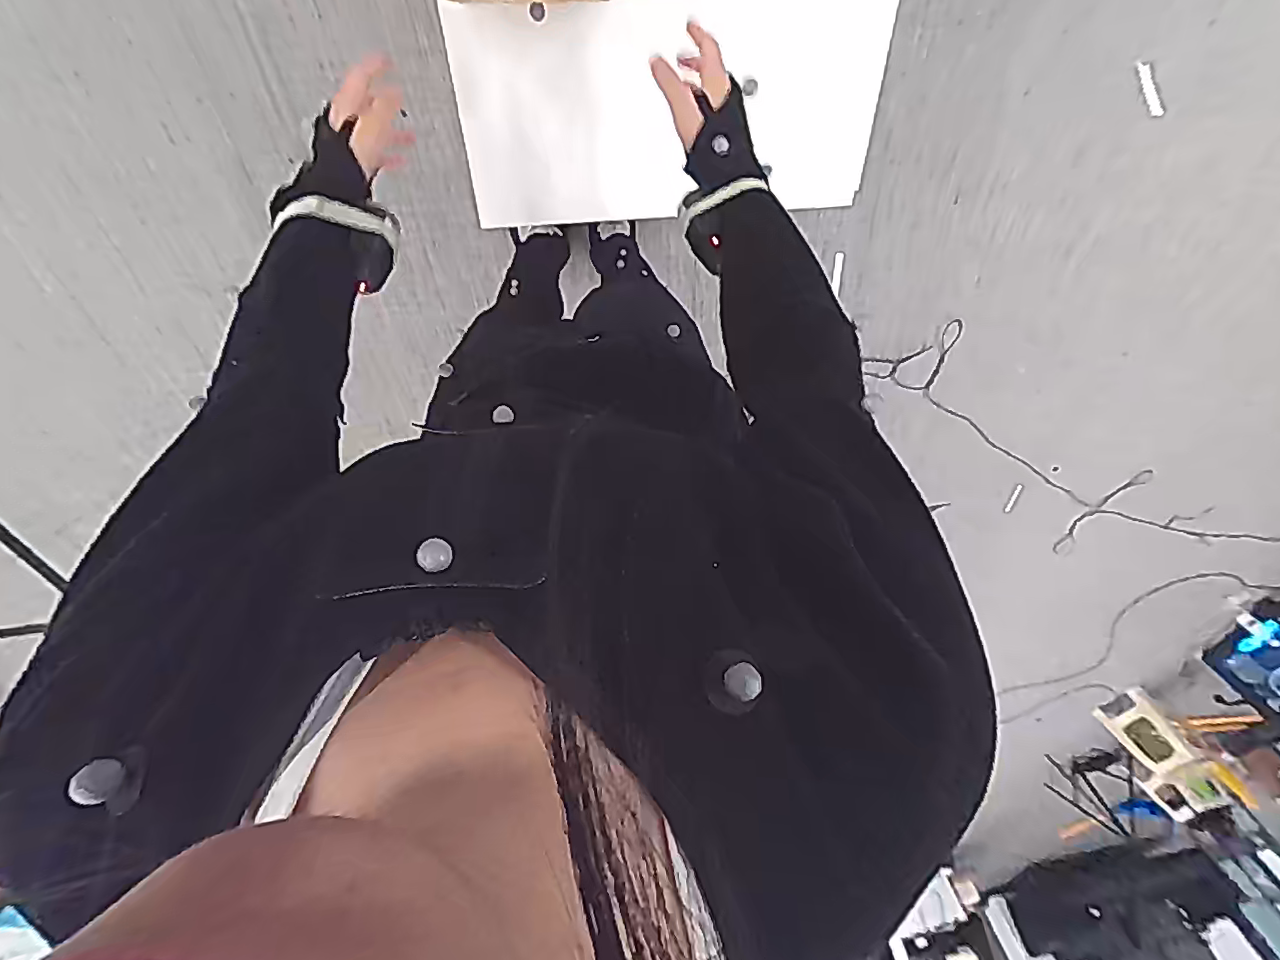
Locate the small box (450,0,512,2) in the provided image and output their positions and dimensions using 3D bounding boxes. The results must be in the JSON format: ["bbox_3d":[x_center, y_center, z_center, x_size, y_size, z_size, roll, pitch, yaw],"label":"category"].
[{"bbox_3d":[-0.098,-0.524,0.457,0.168,0.176,0.179,-7,132,-6],"label":"small box"}]
